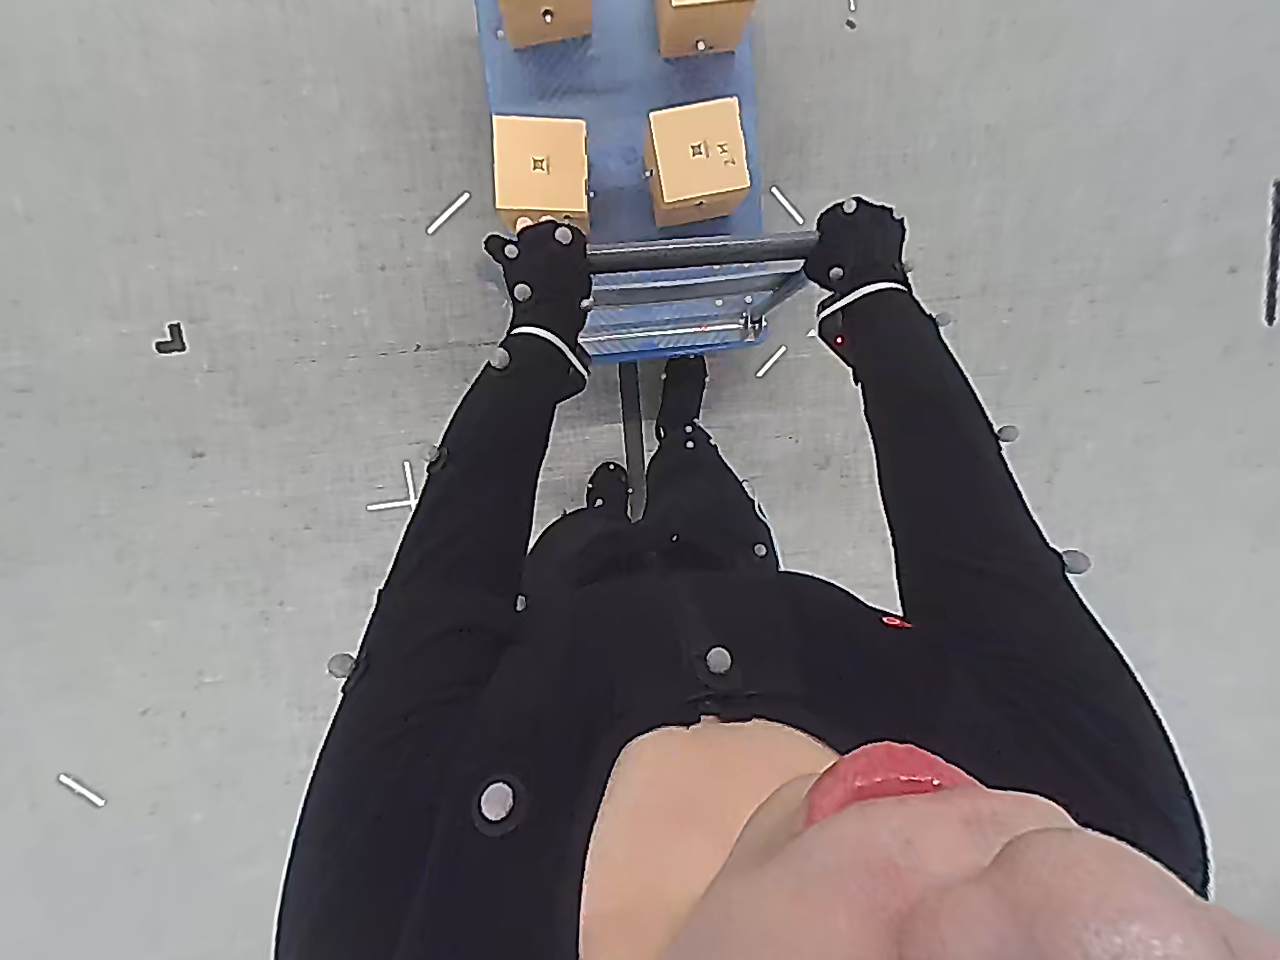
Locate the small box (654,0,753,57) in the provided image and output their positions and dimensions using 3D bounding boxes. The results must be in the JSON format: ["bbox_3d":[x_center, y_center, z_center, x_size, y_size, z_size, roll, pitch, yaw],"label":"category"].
[{"bbox_3d":[0.117,-0.988,1.070,0.168,0.176,0.179,-9,101,-3],"label":"small box"}]

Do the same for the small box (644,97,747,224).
[{"bbox_3d":[0.107,-0.652,1.124,0.179,0.176,0.168,-12,100,-2],"label":"small box"}]

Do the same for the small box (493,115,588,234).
[{"bbox_3d":[-0.197,-0.615,1.109,0.179,0.176,0.168,-1,99,-5],"label":"small box"}]
